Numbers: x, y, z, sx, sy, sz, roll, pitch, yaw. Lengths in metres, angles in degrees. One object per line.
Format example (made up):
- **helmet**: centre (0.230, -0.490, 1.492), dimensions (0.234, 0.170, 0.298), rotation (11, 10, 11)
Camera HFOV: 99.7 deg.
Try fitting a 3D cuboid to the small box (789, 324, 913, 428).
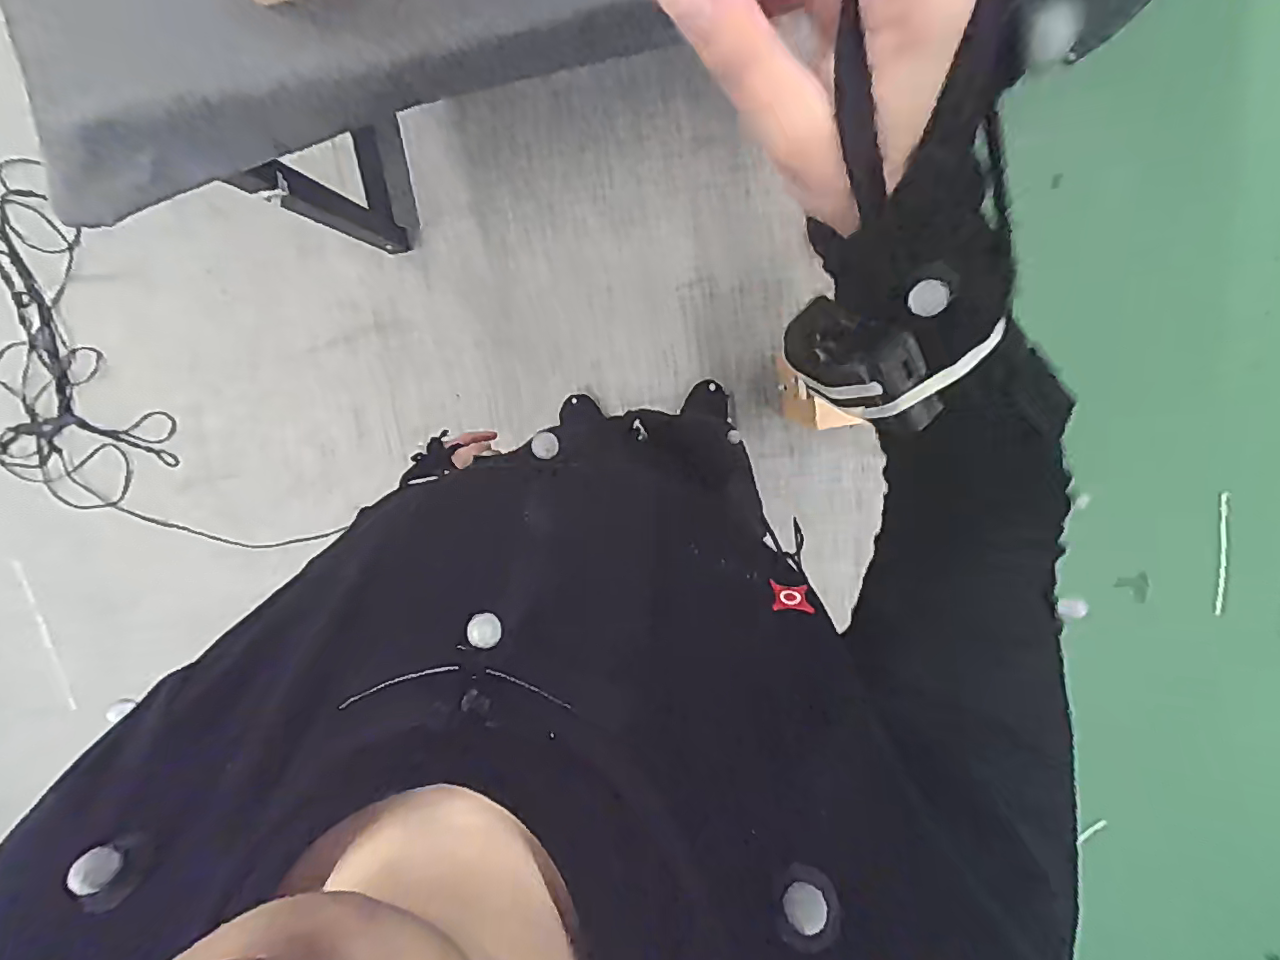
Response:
- **small box**: centre (0.404, -0.203, 1.058), dimensions (0.179, 0.176, 0.168), rotation (-10, 100, 6)
